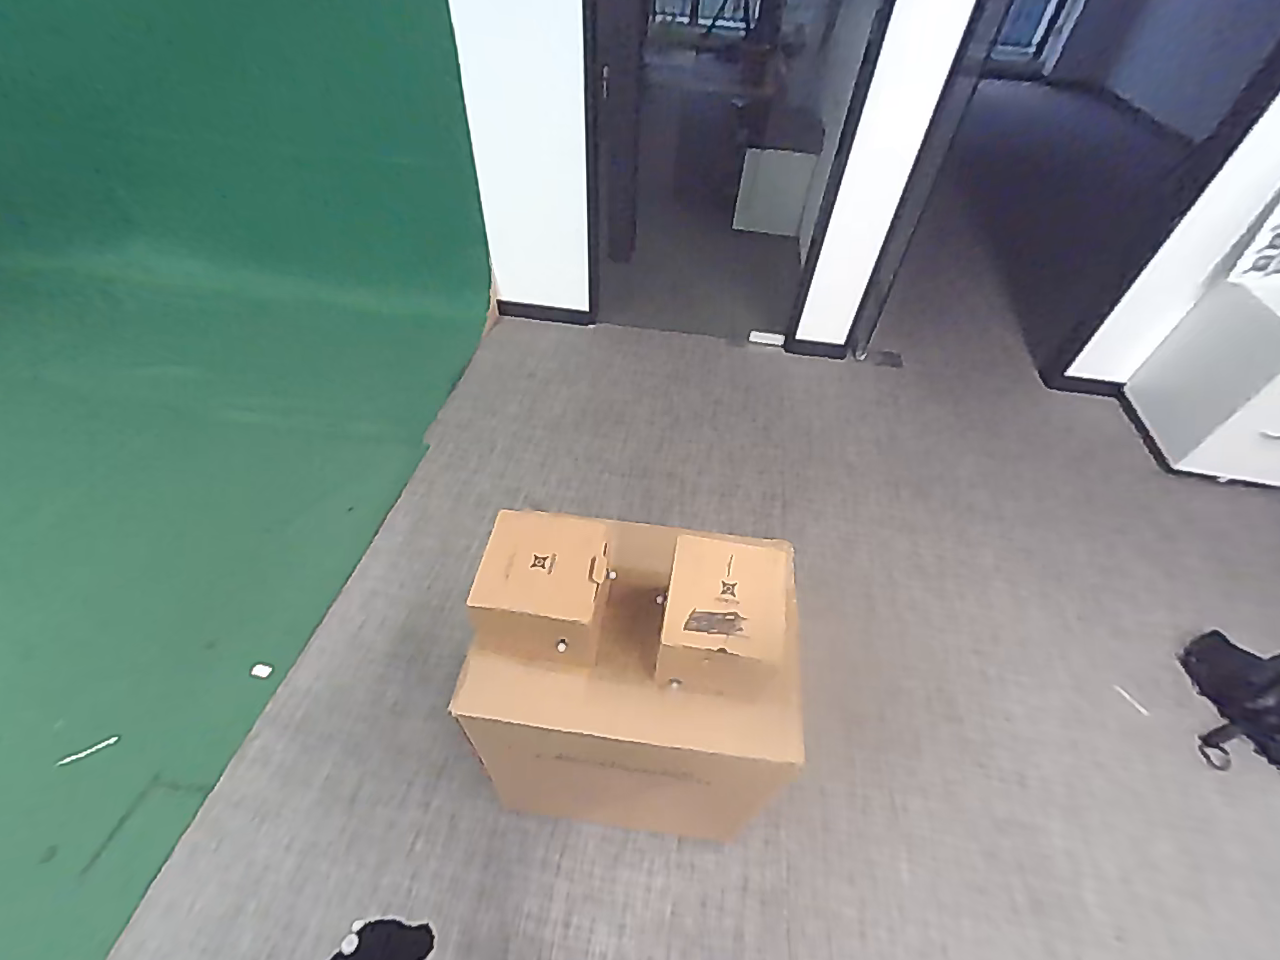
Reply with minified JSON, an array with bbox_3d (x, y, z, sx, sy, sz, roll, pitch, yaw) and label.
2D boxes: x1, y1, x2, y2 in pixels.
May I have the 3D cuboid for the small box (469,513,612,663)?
[{"bbox_3d":[-0.142,0.174,0.850,0.179,0.176,0.168,6,50,4],"label":"small box"}]

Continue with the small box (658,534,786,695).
[{"bbox_3d":[0.121,0.210,0.826,0.168,0.176,0.179,9,52,5],"label":"small box"}]
